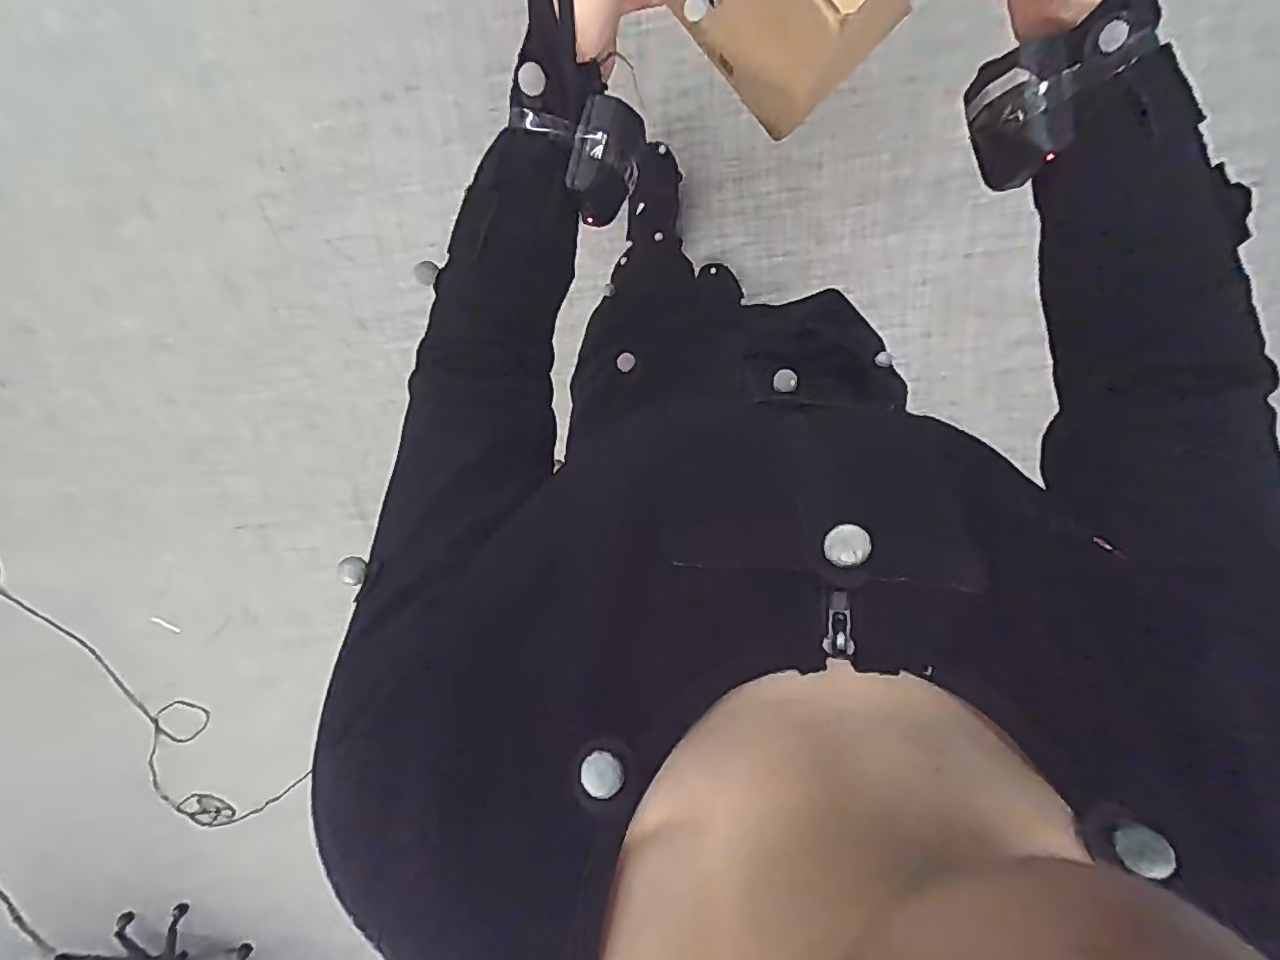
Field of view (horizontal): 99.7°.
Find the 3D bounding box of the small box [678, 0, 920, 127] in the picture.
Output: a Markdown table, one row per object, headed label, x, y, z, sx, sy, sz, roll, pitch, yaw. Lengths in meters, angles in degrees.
| label | x | y | z | sx | sy | sz | roll | pitch | yaw |
| --- | --- | --- | --- | --- | --- | --- | --- | --- | --- |
| small box | 0.102 | -0.340 | 0.292 | 0.179 | 0.176 | 0.168 | -41 | 99 | 16 |
